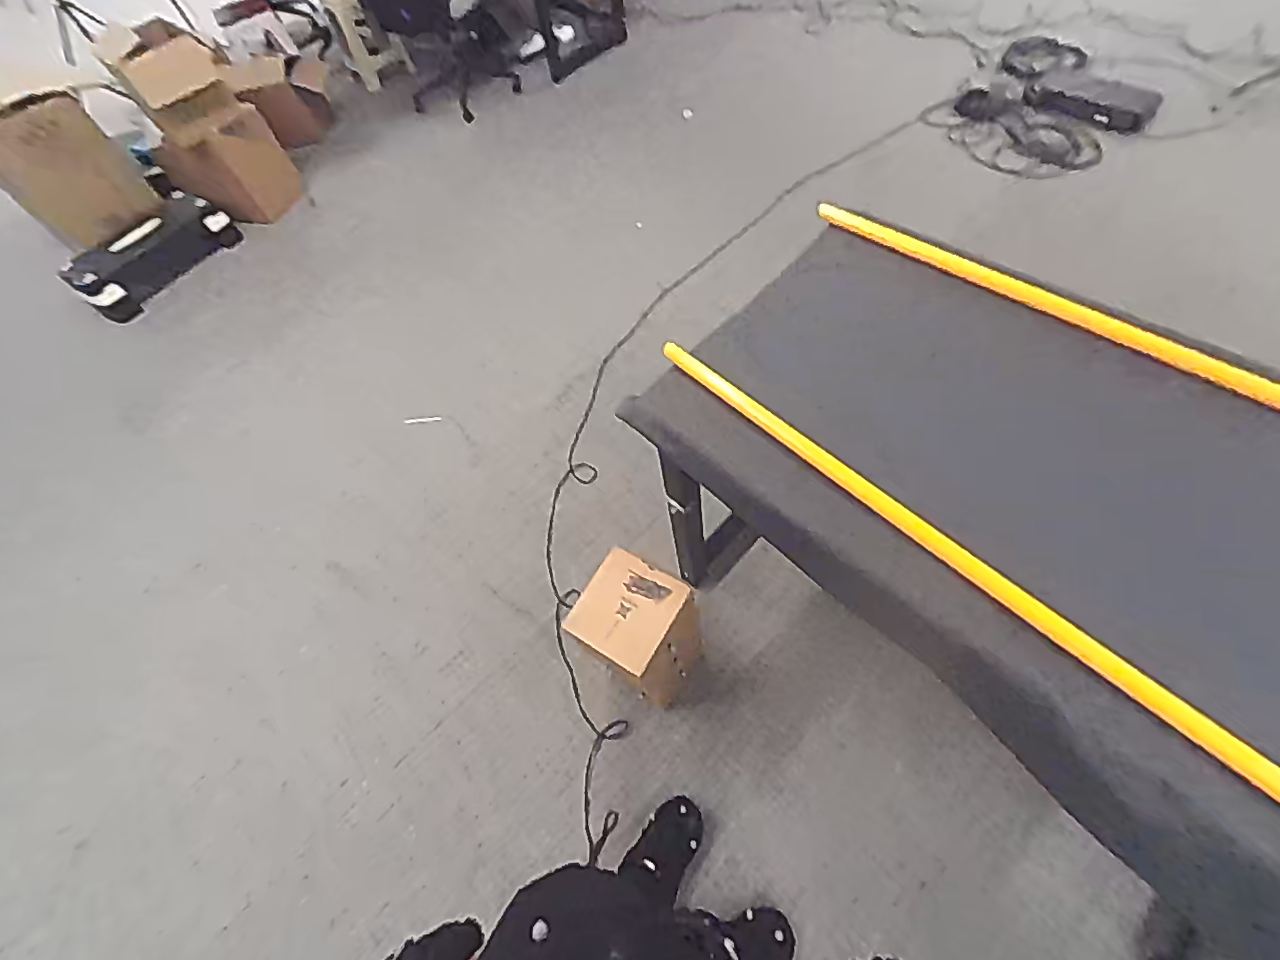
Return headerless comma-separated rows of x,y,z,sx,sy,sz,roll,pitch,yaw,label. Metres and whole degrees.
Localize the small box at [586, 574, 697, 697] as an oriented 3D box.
0.013,0.335,1.150,0.168,0.176,0.179,22,64,22,small box
